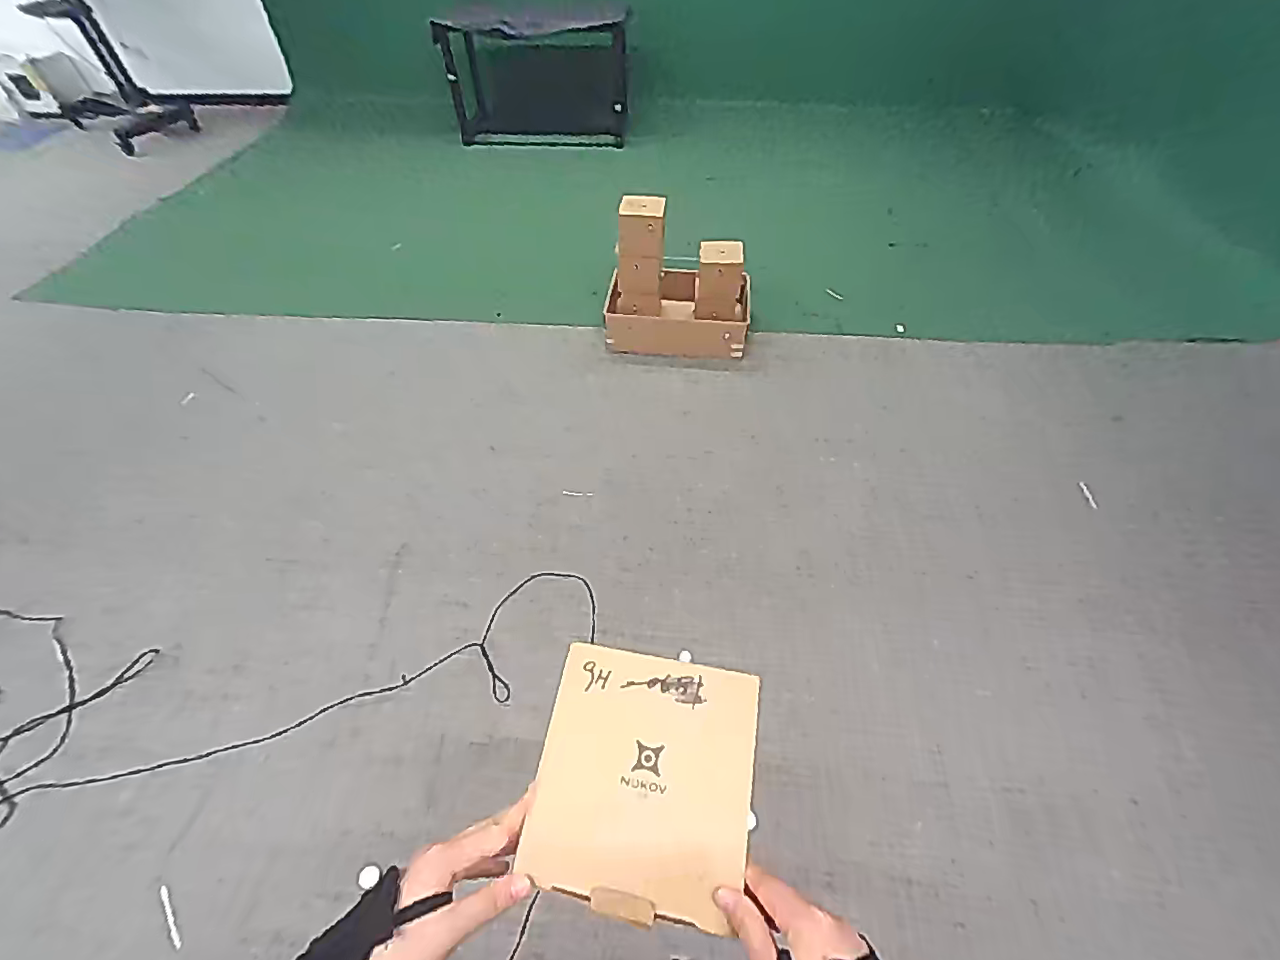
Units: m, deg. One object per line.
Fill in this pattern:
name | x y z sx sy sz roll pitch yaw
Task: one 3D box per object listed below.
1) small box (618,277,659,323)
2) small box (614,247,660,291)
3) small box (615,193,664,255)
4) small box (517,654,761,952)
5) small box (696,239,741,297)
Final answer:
small box | -0.003 -0.825 2.429 0.168 0.176 0.179 4 52 4
small box | -0.010 -0.921 2.296 0.179 0.176 0.168 5 52 4
small box | 0.000 -1.022 2.165 0.179 0.176 0.168 5 51 4
small box | 0.010 0.277 0.491 0.168 0.176 0.179 8 61 8
small box | 0.324 -0.884 2.260 0.179 0.176 0.168 3 53 4
